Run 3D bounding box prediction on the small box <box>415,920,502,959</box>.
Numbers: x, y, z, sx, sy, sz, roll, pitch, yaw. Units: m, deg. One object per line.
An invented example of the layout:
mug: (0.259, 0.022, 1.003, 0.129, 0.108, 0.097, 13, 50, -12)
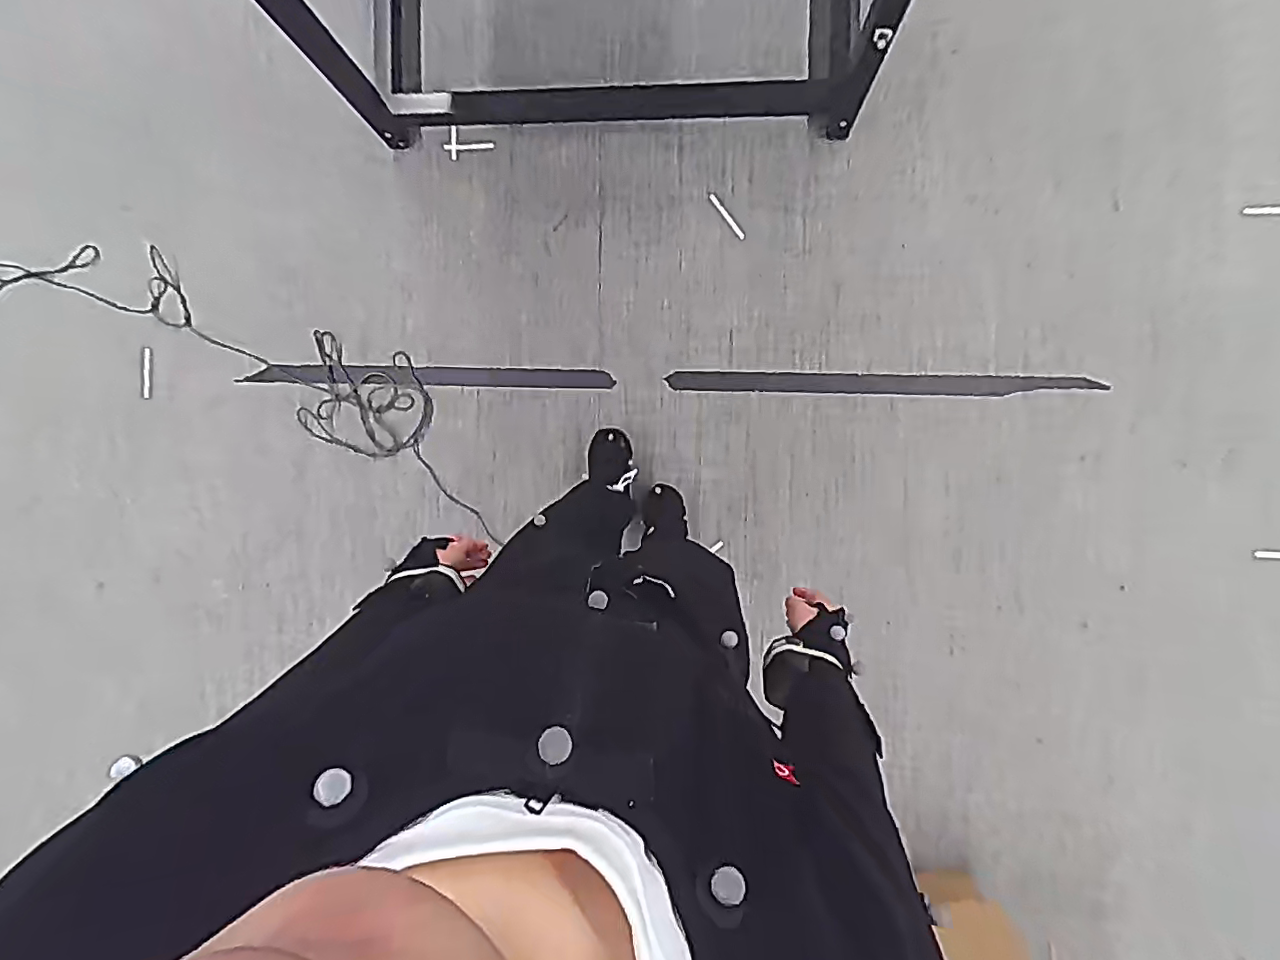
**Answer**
small box: (-0.411, 1.109, 1.166, 0.168, 0.176, 0.179, 8, 93, 7)
